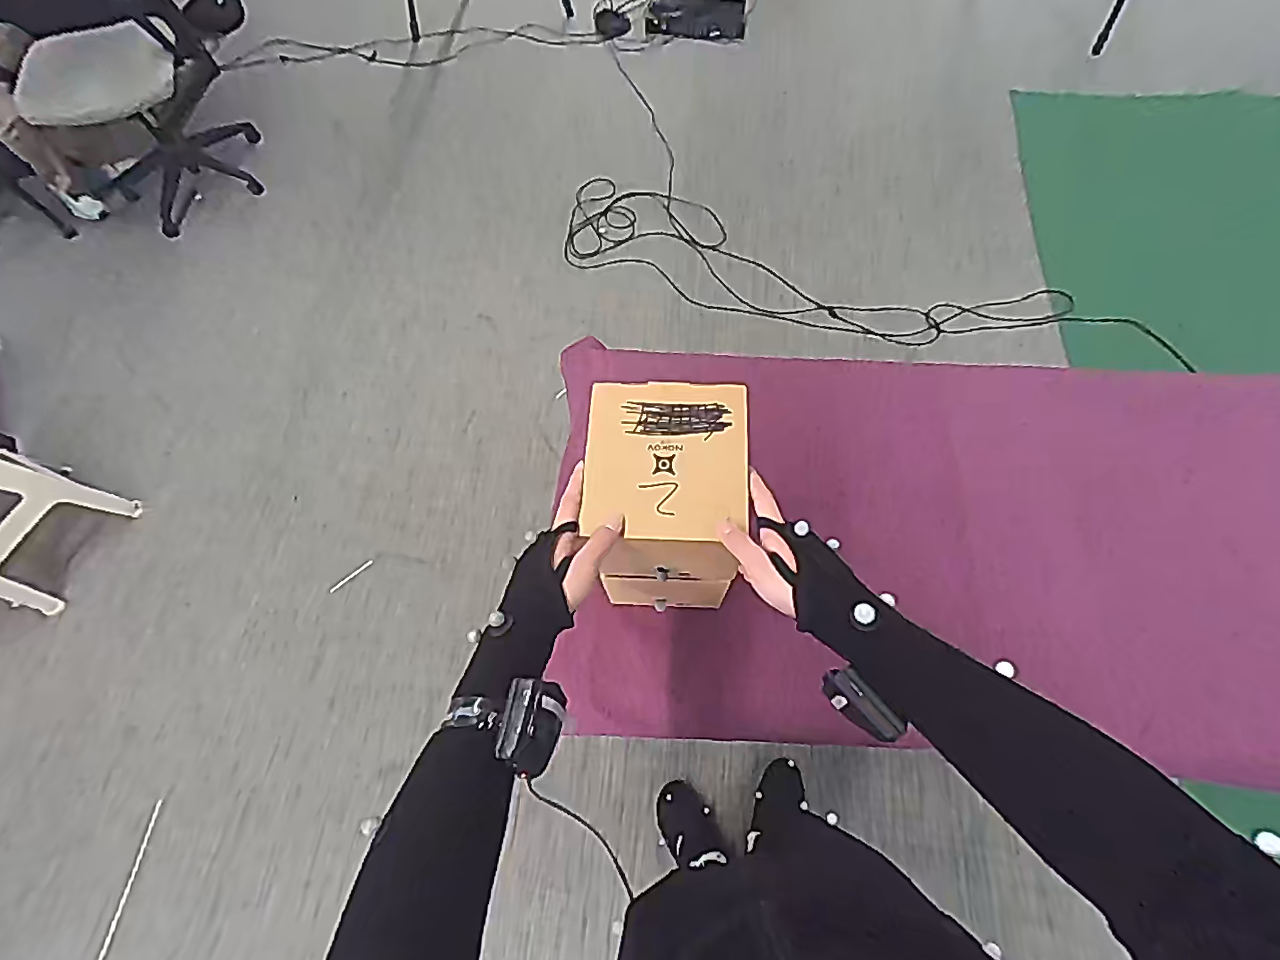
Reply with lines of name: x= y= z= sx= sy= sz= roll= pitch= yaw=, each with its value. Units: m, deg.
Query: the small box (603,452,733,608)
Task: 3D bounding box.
small box: x=0.041 y=0.077 z=0.777 sx=0.168 sy=0.176 sz=0.179 roll=2 pitch=66 yaw=3
